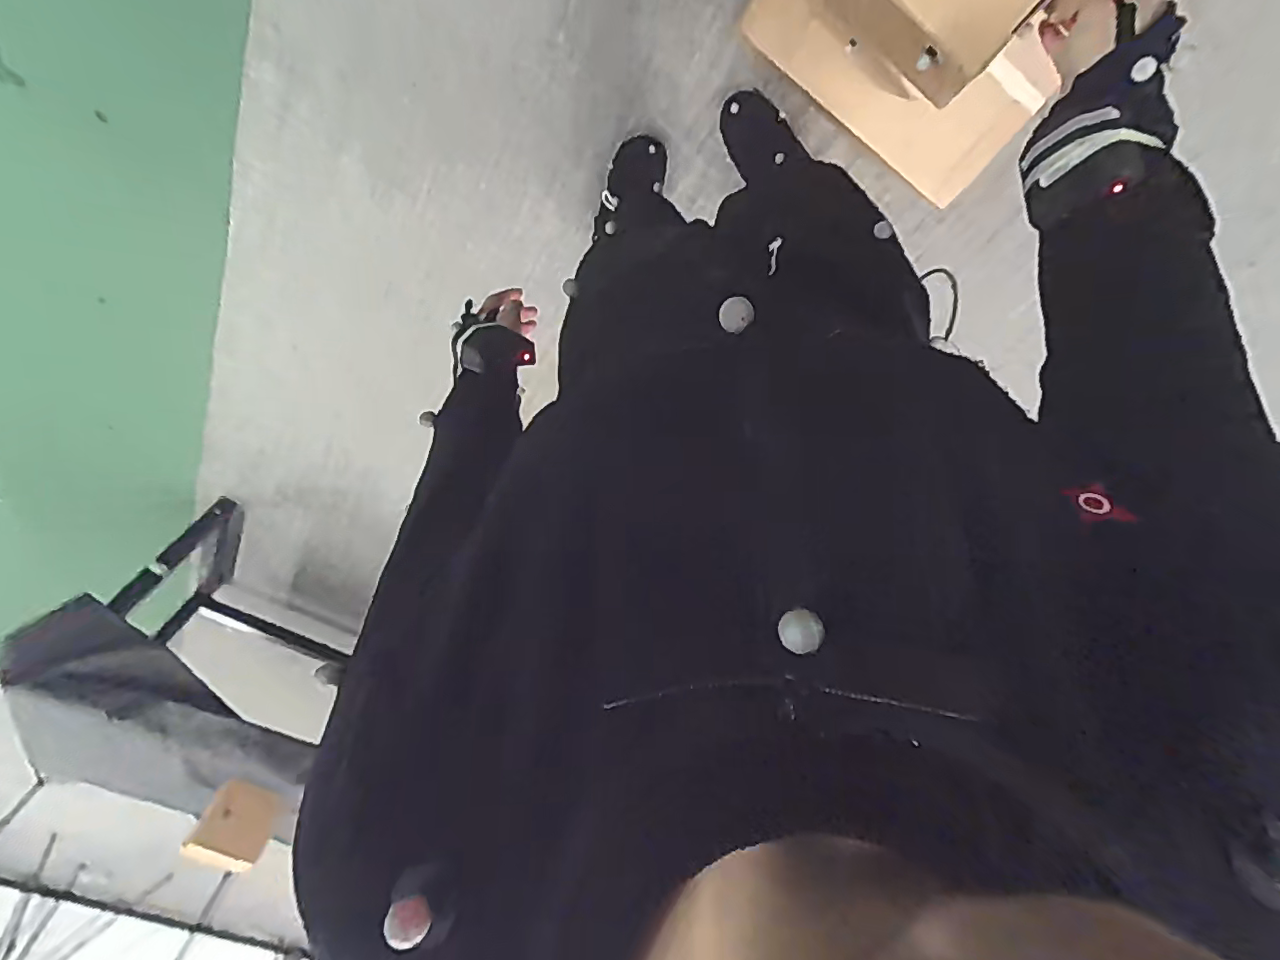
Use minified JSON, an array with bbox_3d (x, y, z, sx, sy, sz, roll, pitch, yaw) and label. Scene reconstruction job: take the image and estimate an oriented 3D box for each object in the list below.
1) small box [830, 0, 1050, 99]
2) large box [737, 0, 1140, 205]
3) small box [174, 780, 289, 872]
[{"bbox_3d":[0.270,-0.453,0.442,0.179,0.176,0.168,40,122,-3],"label":"small box"},{"bbox_3d":[0.399,-0.698,0.805,0.408,0.320,0.320,29,128,-16],"label":"large box"},{"bbox_3d":[-1.133,0.960,1.508,0.179,0.176,0.168,37,126,-21],"label":"small box"}]
